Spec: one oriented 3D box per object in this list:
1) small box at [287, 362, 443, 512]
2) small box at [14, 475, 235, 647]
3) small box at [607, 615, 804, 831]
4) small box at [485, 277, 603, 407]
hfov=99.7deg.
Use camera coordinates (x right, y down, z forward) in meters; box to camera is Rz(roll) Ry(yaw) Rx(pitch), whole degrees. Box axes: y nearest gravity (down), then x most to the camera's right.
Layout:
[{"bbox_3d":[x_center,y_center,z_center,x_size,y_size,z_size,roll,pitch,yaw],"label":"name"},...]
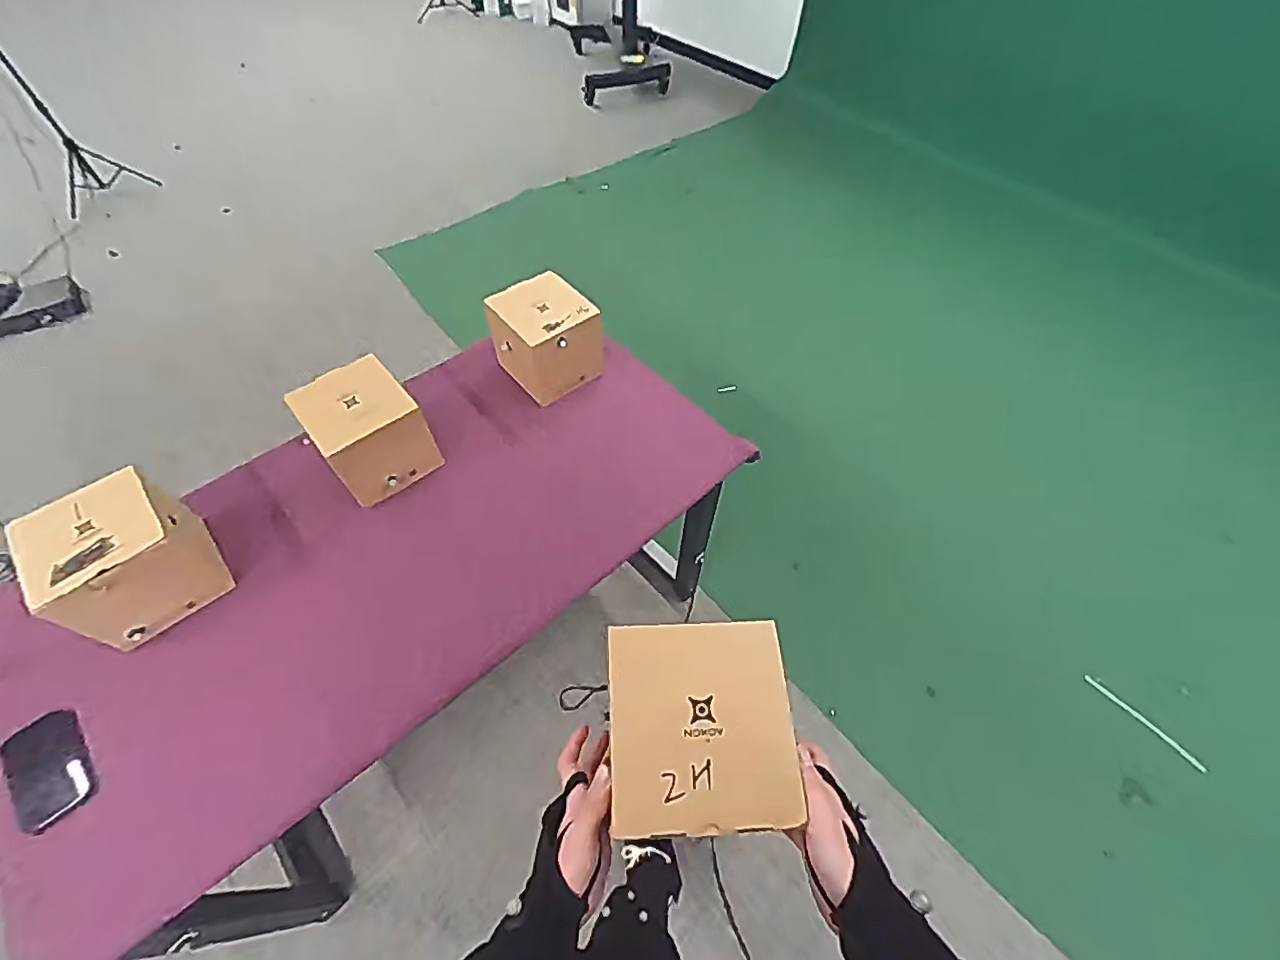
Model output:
[{"bbox_3d":[-0.489,-0.075,0.982,0.168,0.176,0.179,-36,63,-22],"label":"small box"},{"bbox_3d":[-0.775,0.133,0.831,0.168,0.176,0.179,-37,63,-23],"label":"small box"},{"bbox_3d":[0.049,0.249,0.555,0.168,0.176,0.179,-2,61,-2],"label":"small box"},{"bbox_3d":[-0.194,-0.285,1.129,0.168,0.176,0.179,-35,62,-21],"label":"small box"}]
